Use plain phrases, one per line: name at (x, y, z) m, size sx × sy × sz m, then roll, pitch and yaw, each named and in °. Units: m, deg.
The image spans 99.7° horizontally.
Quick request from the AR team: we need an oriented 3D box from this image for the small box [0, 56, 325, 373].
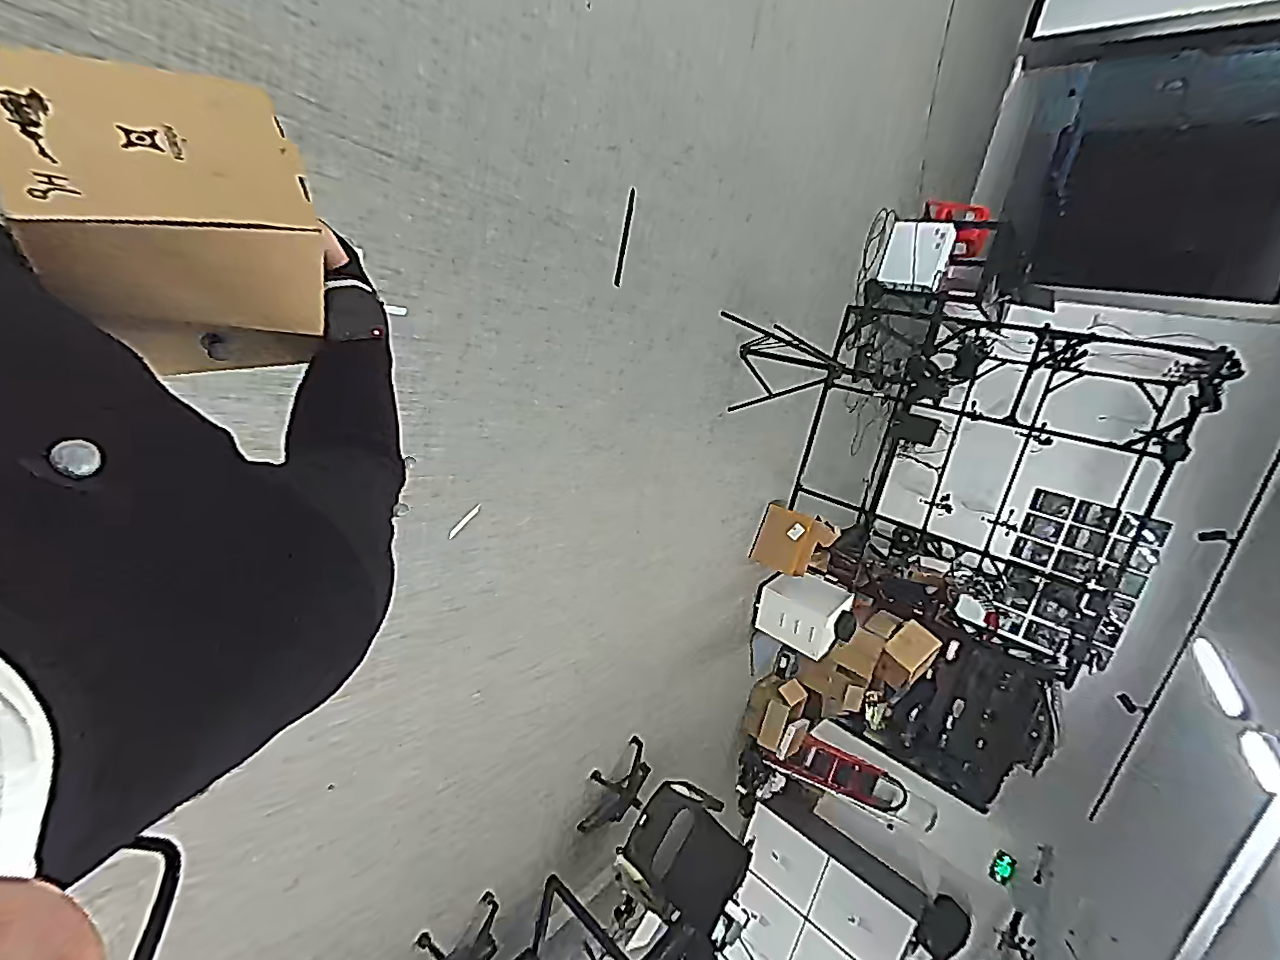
small box at (-0.400, -0.215, 0.477) m, size 0.179 × 0.168 × 0.176 m, roll -17°, pitch 161°, yaw -37°
